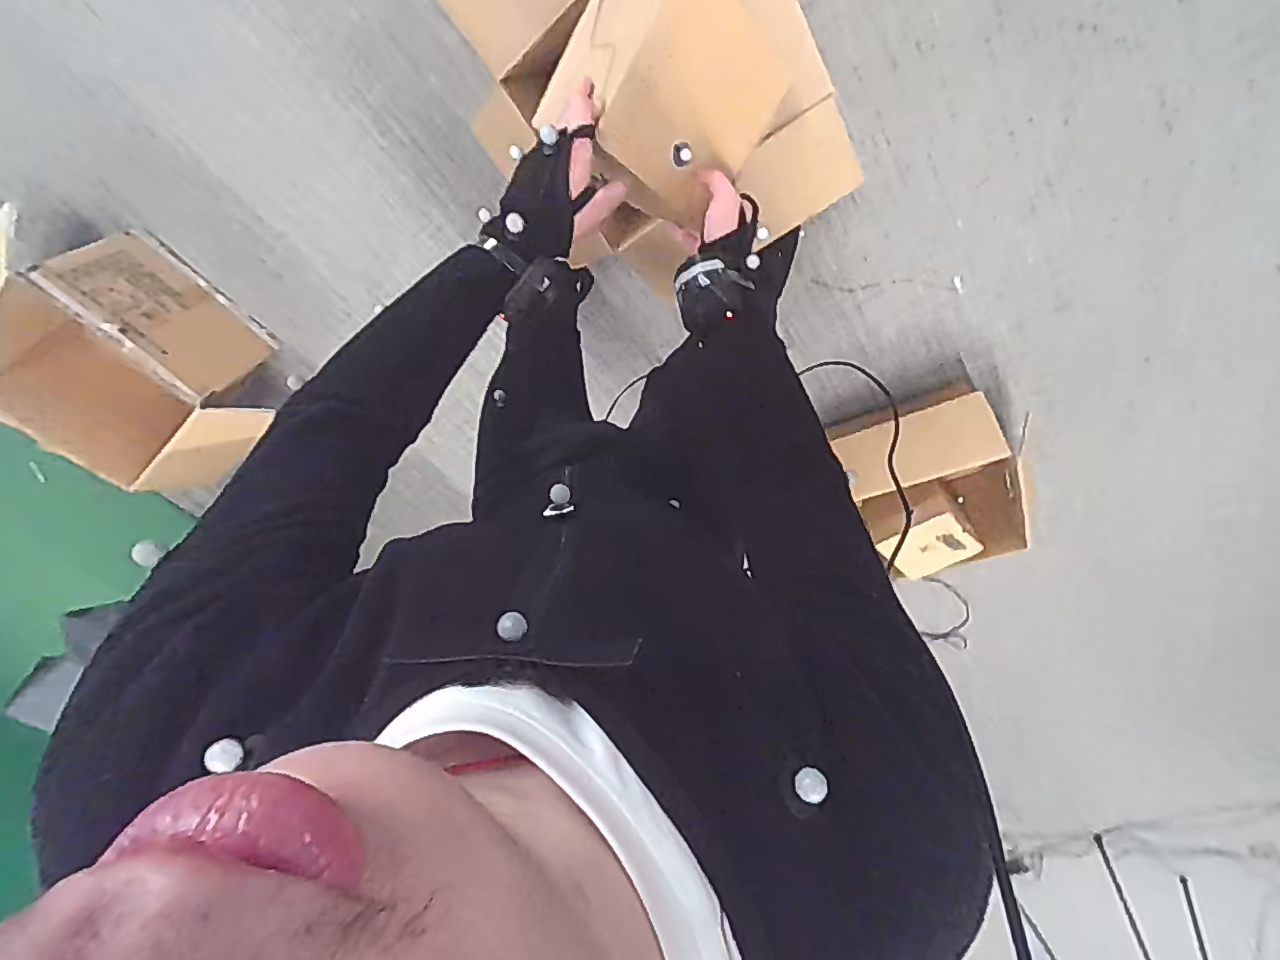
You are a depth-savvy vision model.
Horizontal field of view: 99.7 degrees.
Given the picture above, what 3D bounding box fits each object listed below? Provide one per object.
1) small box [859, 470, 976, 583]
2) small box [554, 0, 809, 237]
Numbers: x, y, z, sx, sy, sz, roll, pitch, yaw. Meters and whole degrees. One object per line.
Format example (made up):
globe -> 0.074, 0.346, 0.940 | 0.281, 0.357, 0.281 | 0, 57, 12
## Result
small box -> 0.654, 0.108, 1.293 | 0.179, 0.176, 0.168 | -34, 117, 30
small box -> 0.034, -0.399, 0.578 | 0.176, 0.168, 0.179 | 15, 114, -42
